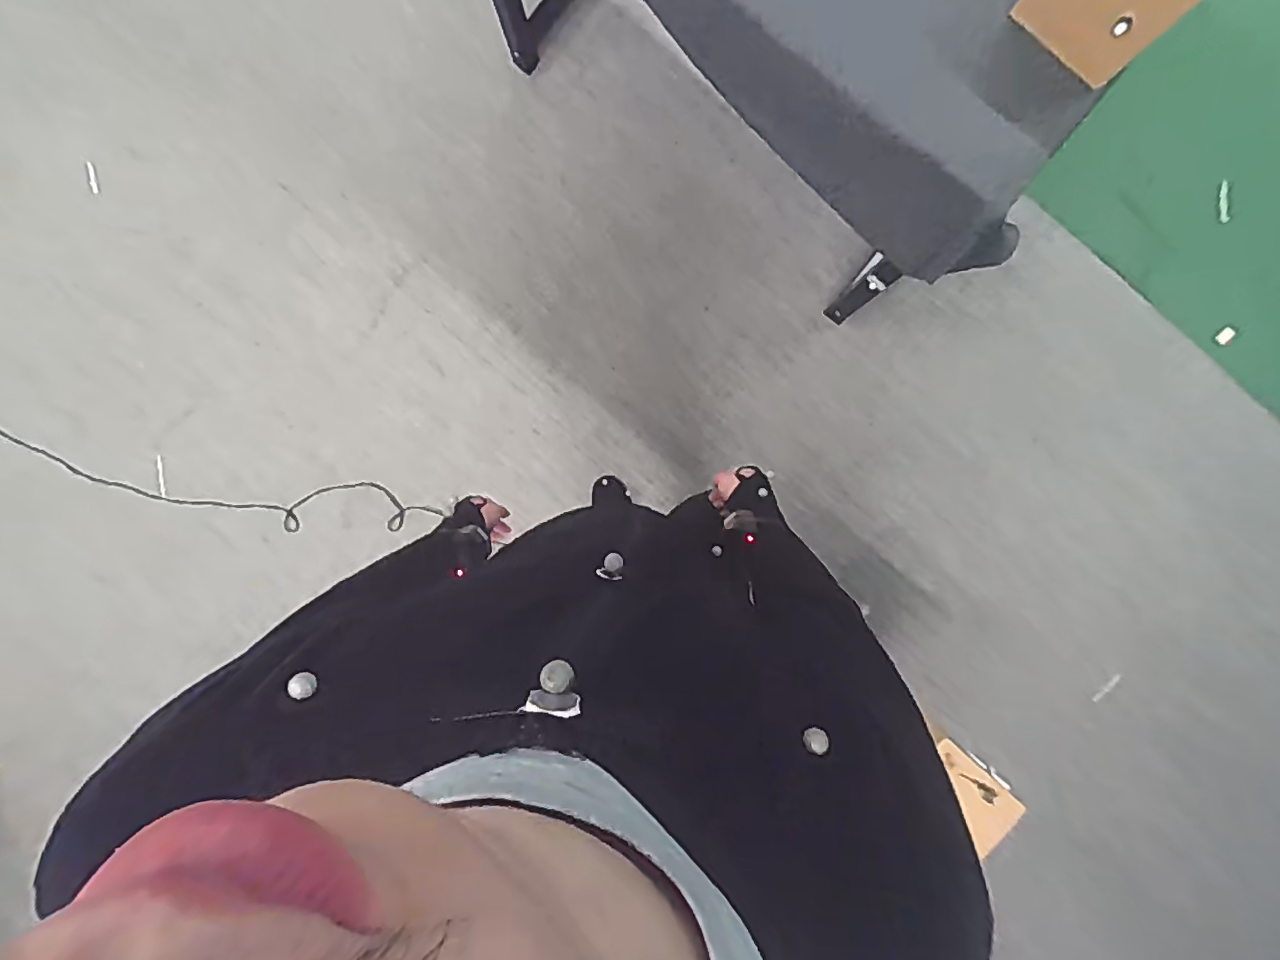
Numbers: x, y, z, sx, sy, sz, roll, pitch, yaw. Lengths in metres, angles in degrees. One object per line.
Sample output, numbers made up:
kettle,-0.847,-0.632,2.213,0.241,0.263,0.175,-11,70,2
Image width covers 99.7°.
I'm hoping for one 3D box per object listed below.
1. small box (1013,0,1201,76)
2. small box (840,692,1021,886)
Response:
small box,0.655,-0.686,0.709,0.179,0.176,0.168,41,91,1
small box,0.455,0.492,0.887,0.168,0.176,0.179,42,95,0
